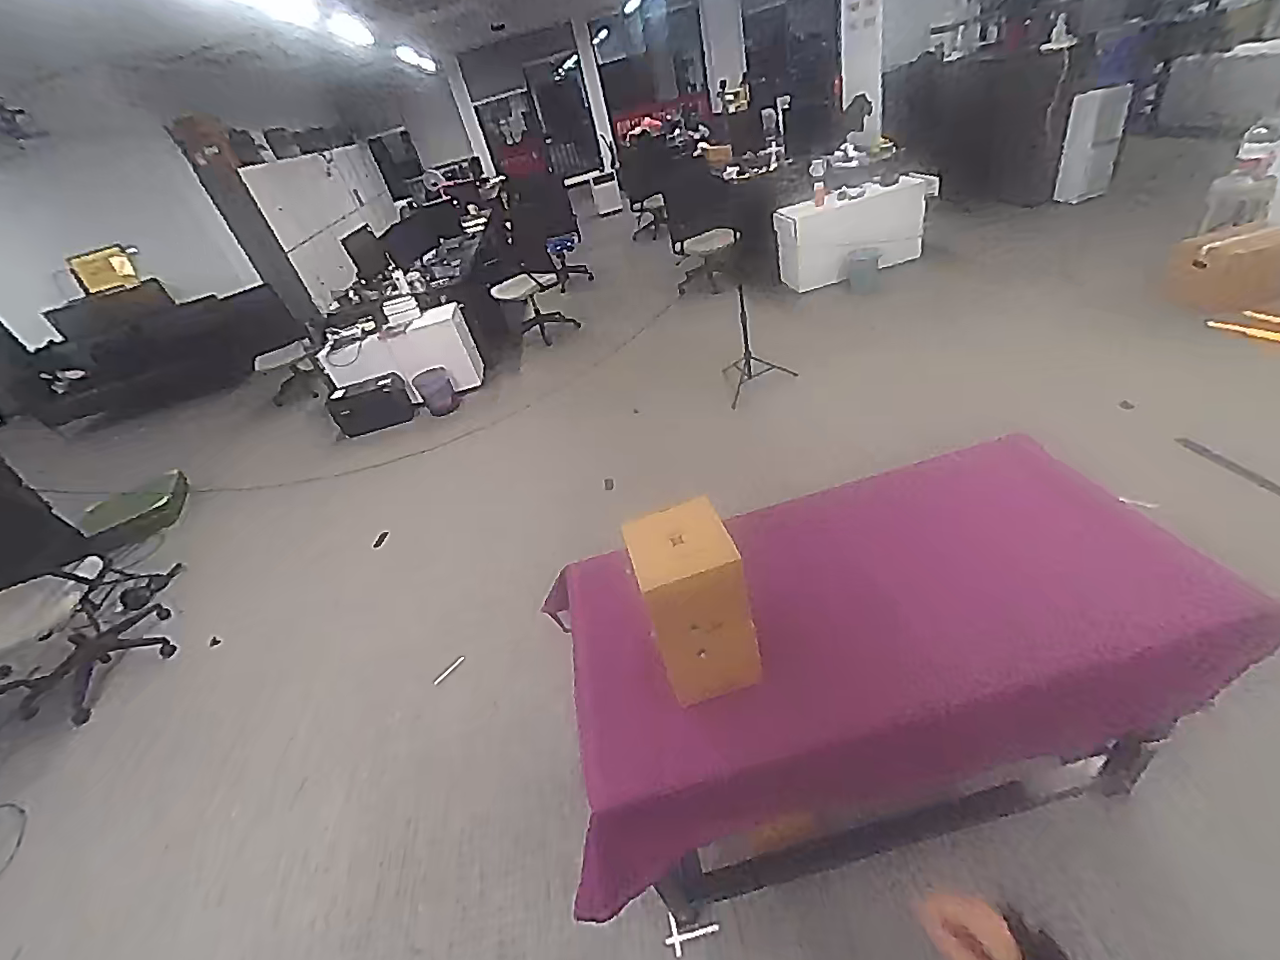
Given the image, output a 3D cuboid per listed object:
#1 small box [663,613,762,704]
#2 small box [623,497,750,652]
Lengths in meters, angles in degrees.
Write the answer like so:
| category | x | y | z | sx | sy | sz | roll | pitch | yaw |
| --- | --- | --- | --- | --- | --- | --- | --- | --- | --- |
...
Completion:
| category | x | y | z | sx | sy | sz | roll | pitch | yaw |
| --- | --- | --- | --- | --- | --- | --- | --- | --- | --- |
| small box | 0.122 | 0.291 | 1.036 | 0.168 | 0.176 | 0.179 | -17 | 35 | -1 |
| small box | 0.079 | 0.163 | 0.942 | 0.168 | 0.176 | 0.179 | -18 | 36 | -3 |
